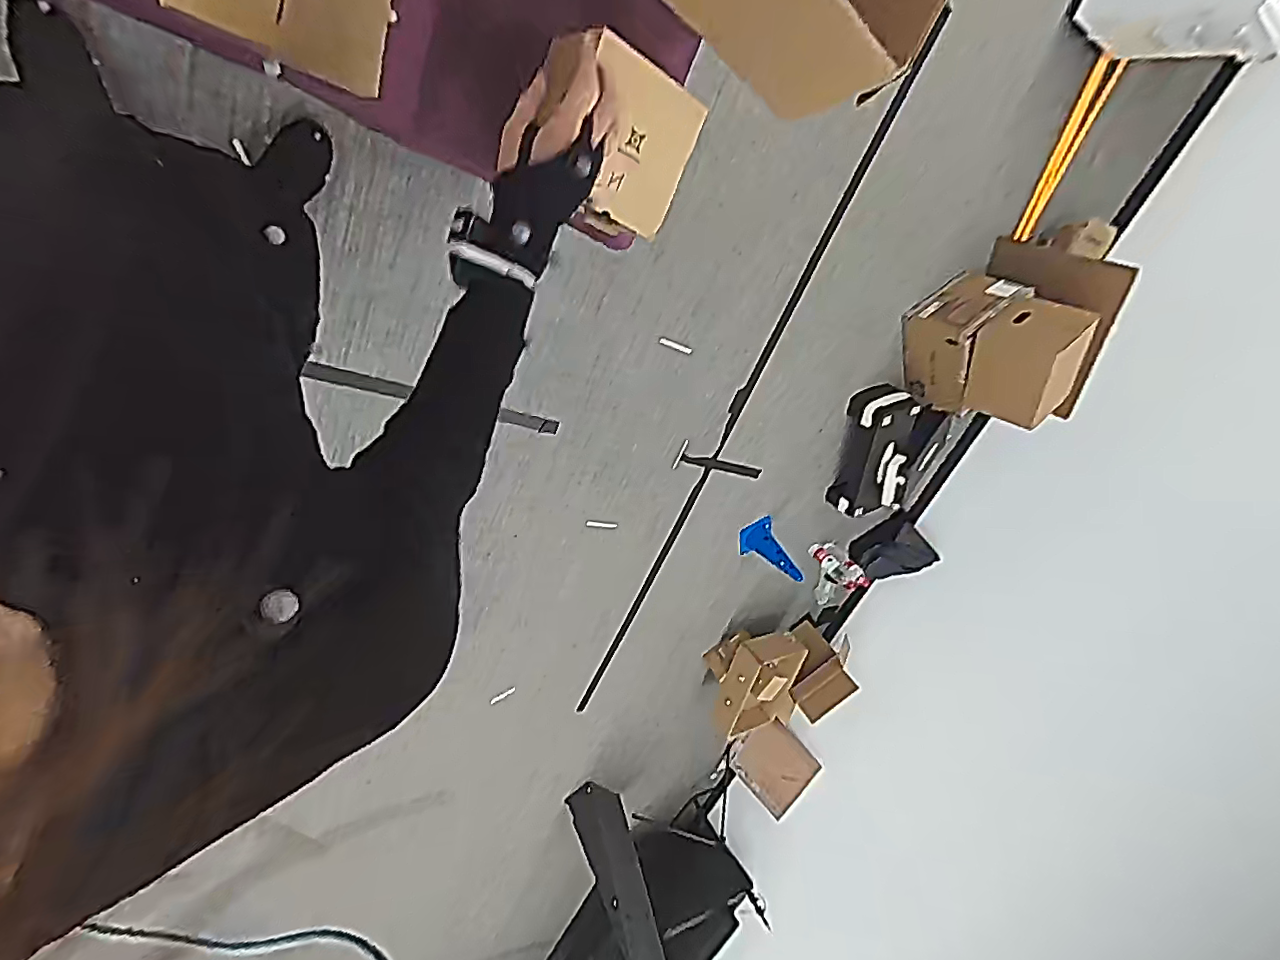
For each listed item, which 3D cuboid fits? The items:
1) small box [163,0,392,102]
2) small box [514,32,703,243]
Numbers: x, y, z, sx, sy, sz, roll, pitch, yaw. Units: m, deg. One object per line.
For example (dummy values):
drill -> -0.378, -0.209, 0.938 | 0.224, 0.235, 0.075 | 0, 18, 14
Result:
small box -> -0.336, -0.497, 0.514 | 0.168, 0.176, 0.179 | 4, 119, -36
small box -> -0.053, -0.454, 0.734 | 0.168, 0.176, 0.179 | 11, 114, -37
